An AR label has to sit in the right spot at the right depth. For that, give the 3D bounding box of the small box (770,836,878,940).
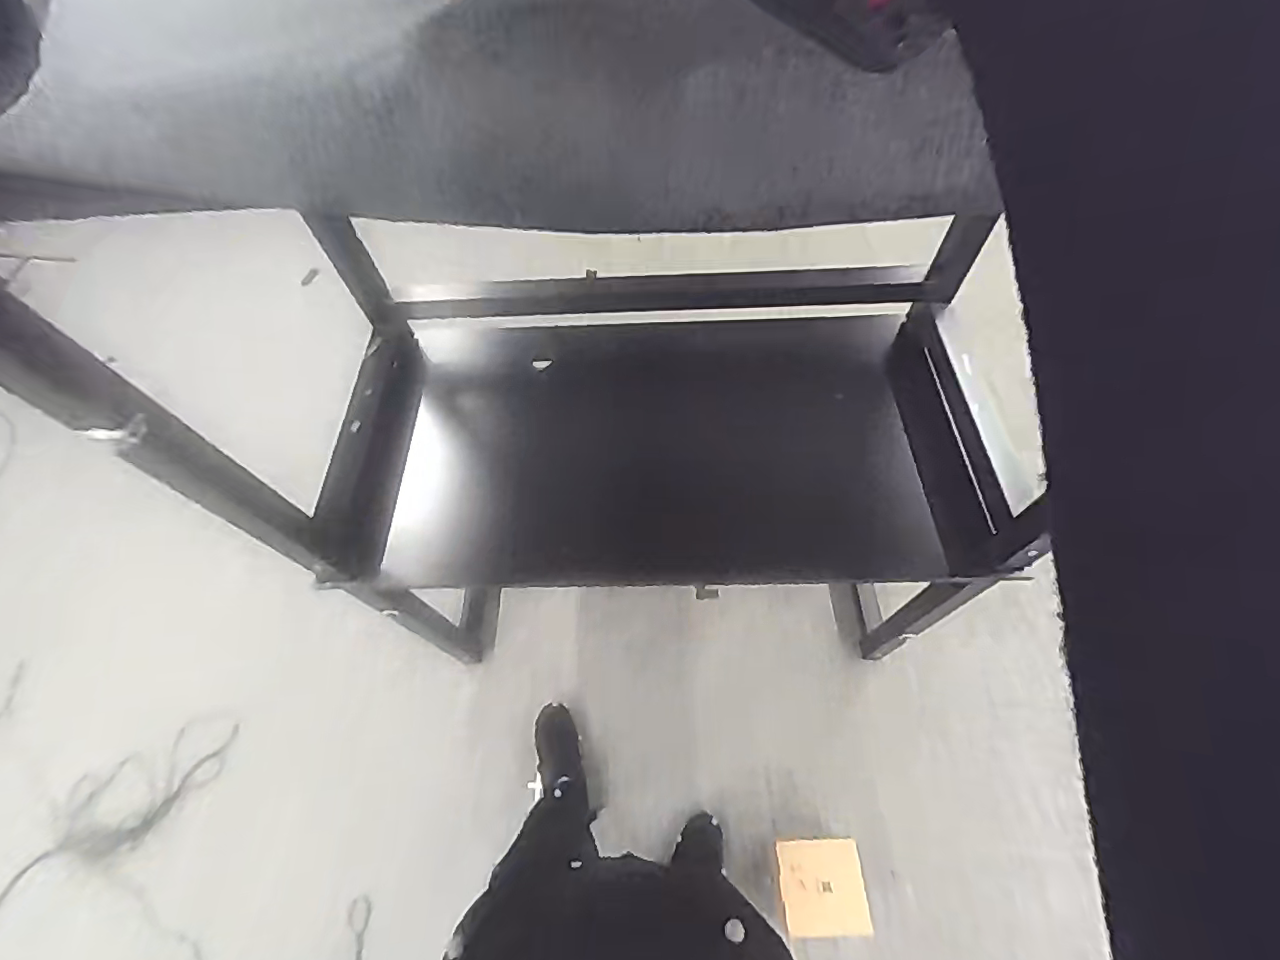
[{"bbox_3d":[0.398,0.896,1.200,0.179,0.176,0.168,-4,59,2],"label":"small box"}]
